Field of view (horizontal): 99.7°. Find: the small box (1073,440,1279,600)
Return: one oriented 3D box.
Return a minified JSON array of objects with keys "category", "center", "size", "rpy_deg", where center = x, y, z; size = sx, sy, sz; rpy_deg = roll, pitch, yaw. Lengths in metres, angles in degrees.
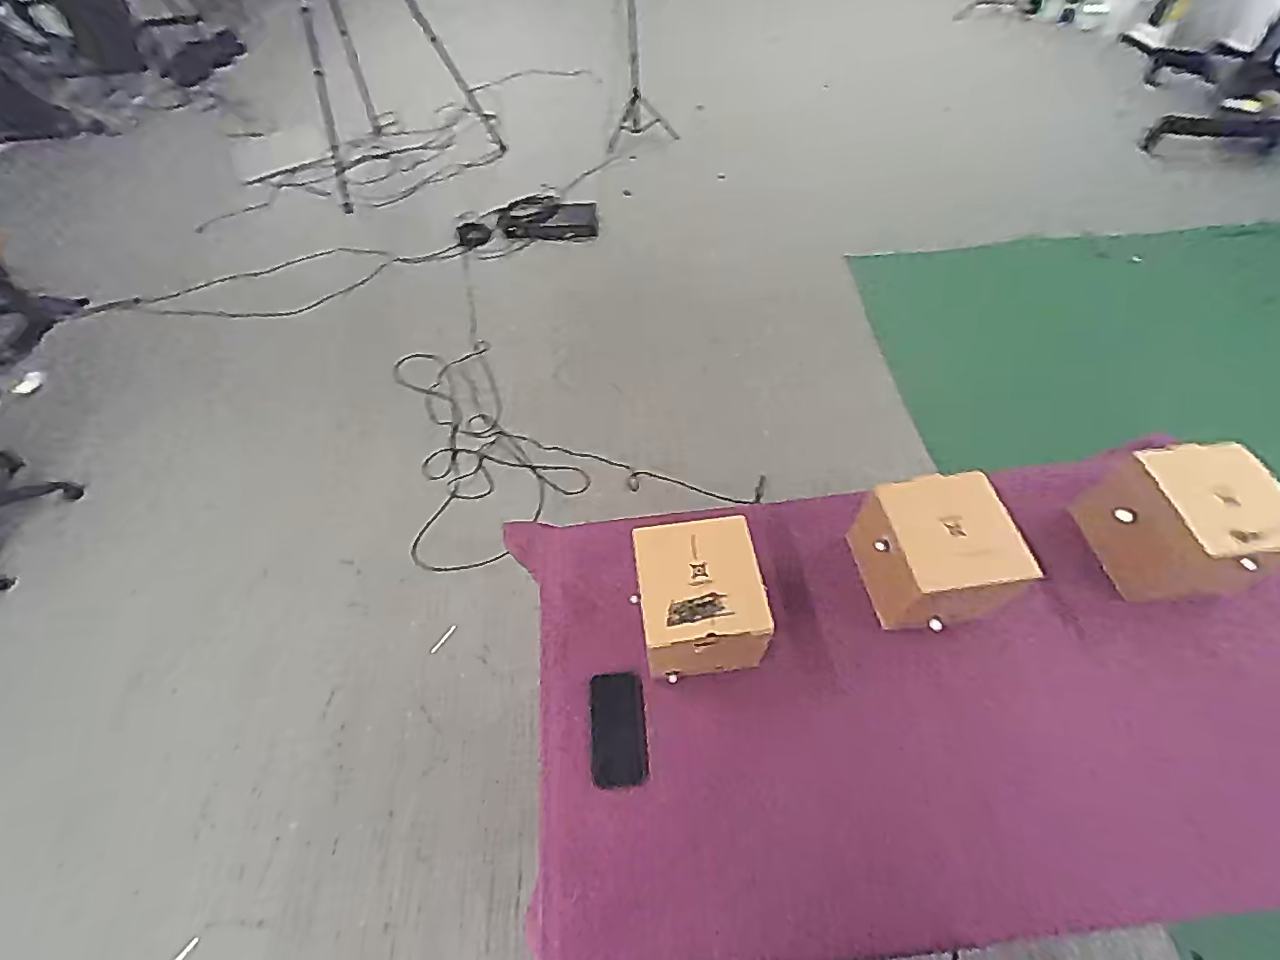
[{"category":"small box","center":[0.823,0.064,0.824],"size":[0.168,0.176,0.179],"rpy_deg":[-6,55,0]}]

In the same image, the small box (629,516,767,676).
[{"category":"small box","center":[0.079,0.177,0.794],"size":[0.168,0.176,0.179],"rpy_deg":[-7,55,-2]}]

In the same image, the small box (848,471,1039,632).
[{"category":"small box","center":[0.437,0.111,0.818],"size":[0.168,0.176,0.179],"rpy_deg":[-8,56,-1]}]
